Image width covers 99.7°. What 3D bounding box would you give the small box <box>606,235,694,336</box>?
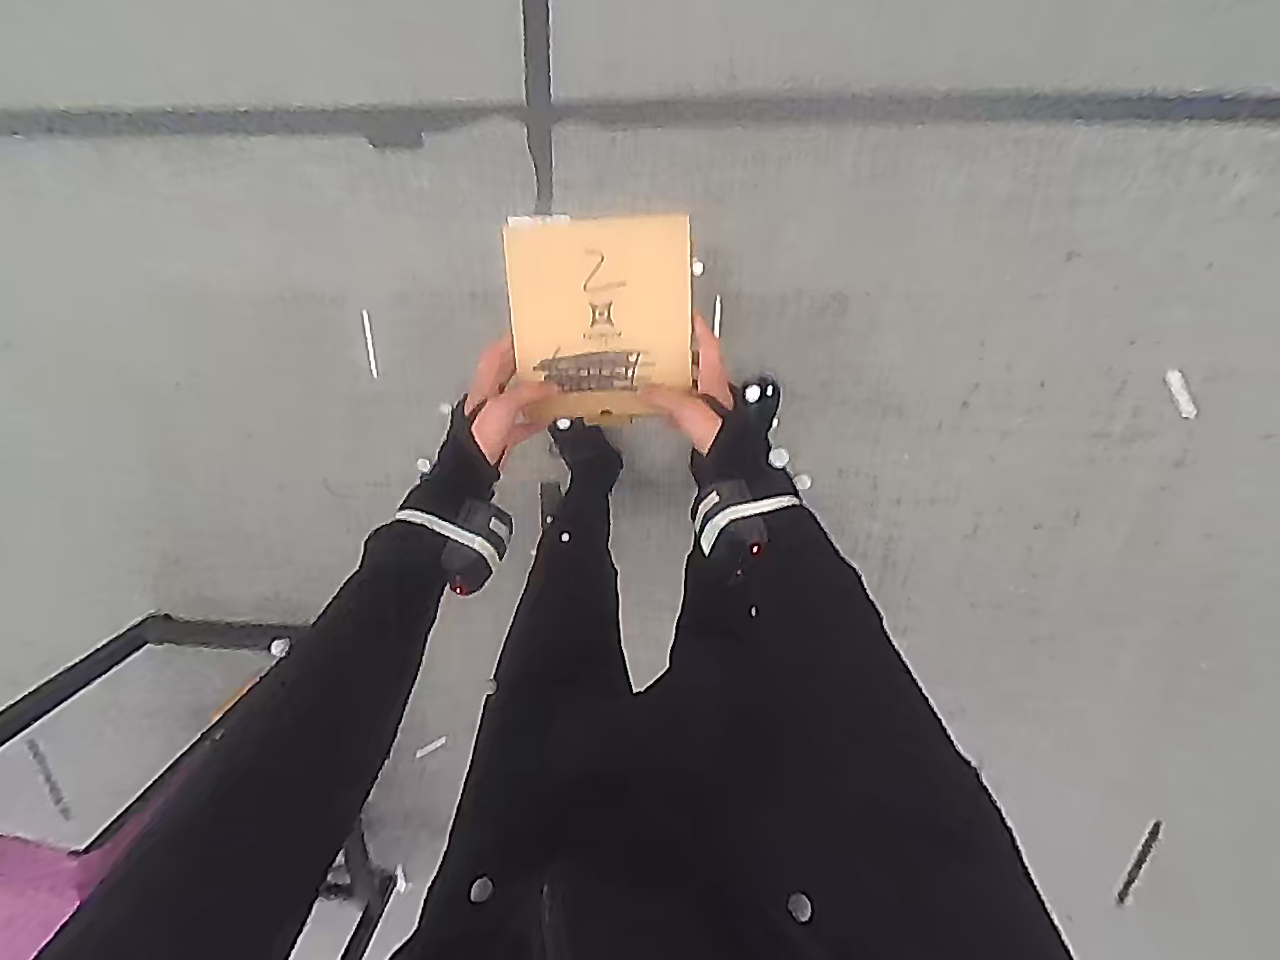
[{"bbox_3d":[0.024,-0.391,1.088,0.168,0.176,0.179,0,113,5],"label":"small box"}]
